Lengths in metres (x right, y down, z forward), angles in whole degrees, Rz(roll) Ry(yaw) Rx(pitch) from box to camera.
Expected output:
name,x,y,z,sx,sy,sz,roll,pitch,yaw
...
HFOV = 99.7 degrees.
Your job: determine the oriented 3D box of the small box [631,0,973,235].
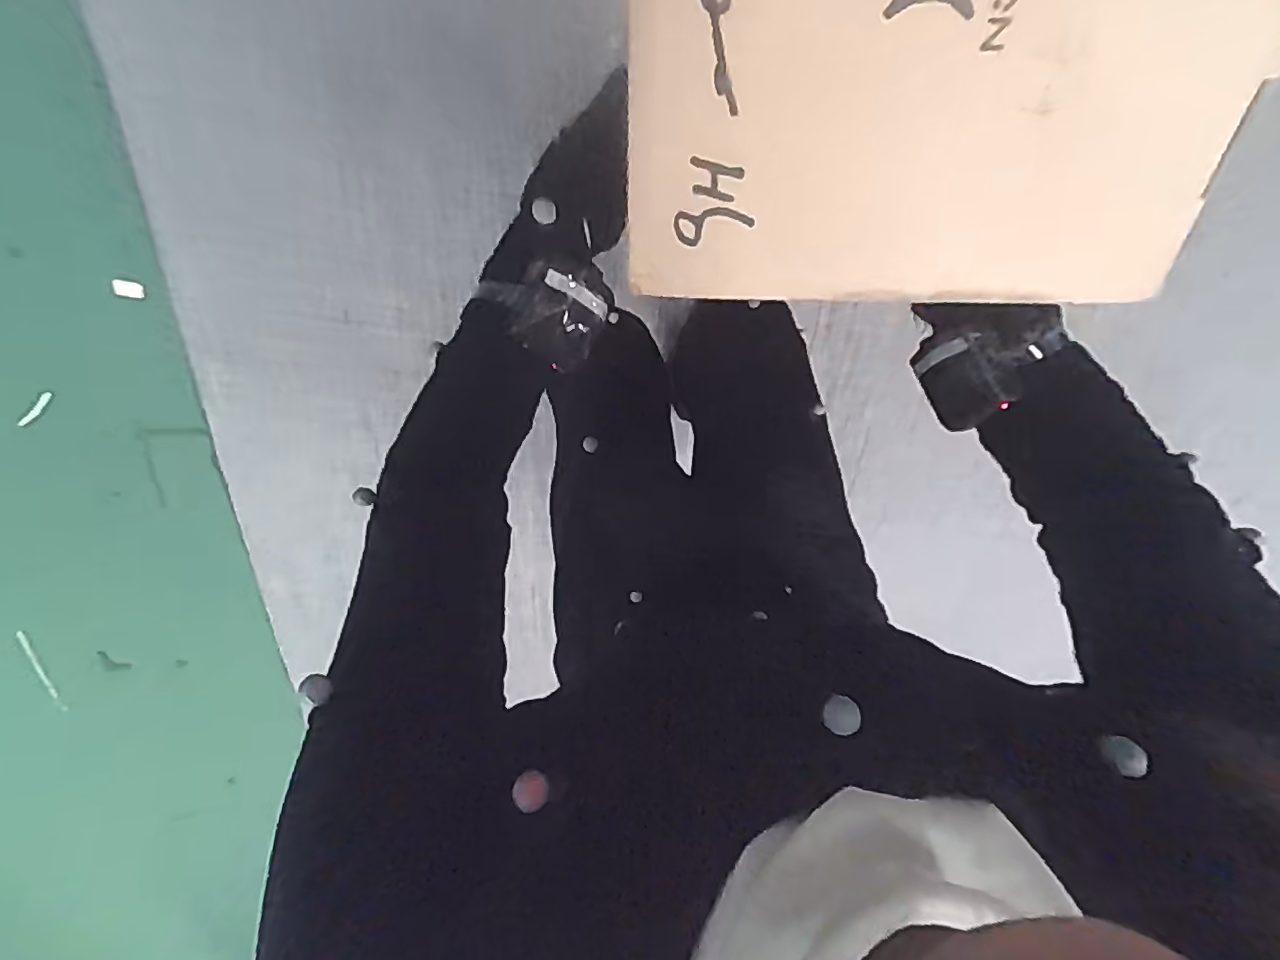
name,x,y,z,sx,sy,sz,roll,pitch,yaw
small box,0.079,-0.261,0.337,0.168,0.176,0.179,1,124,1
